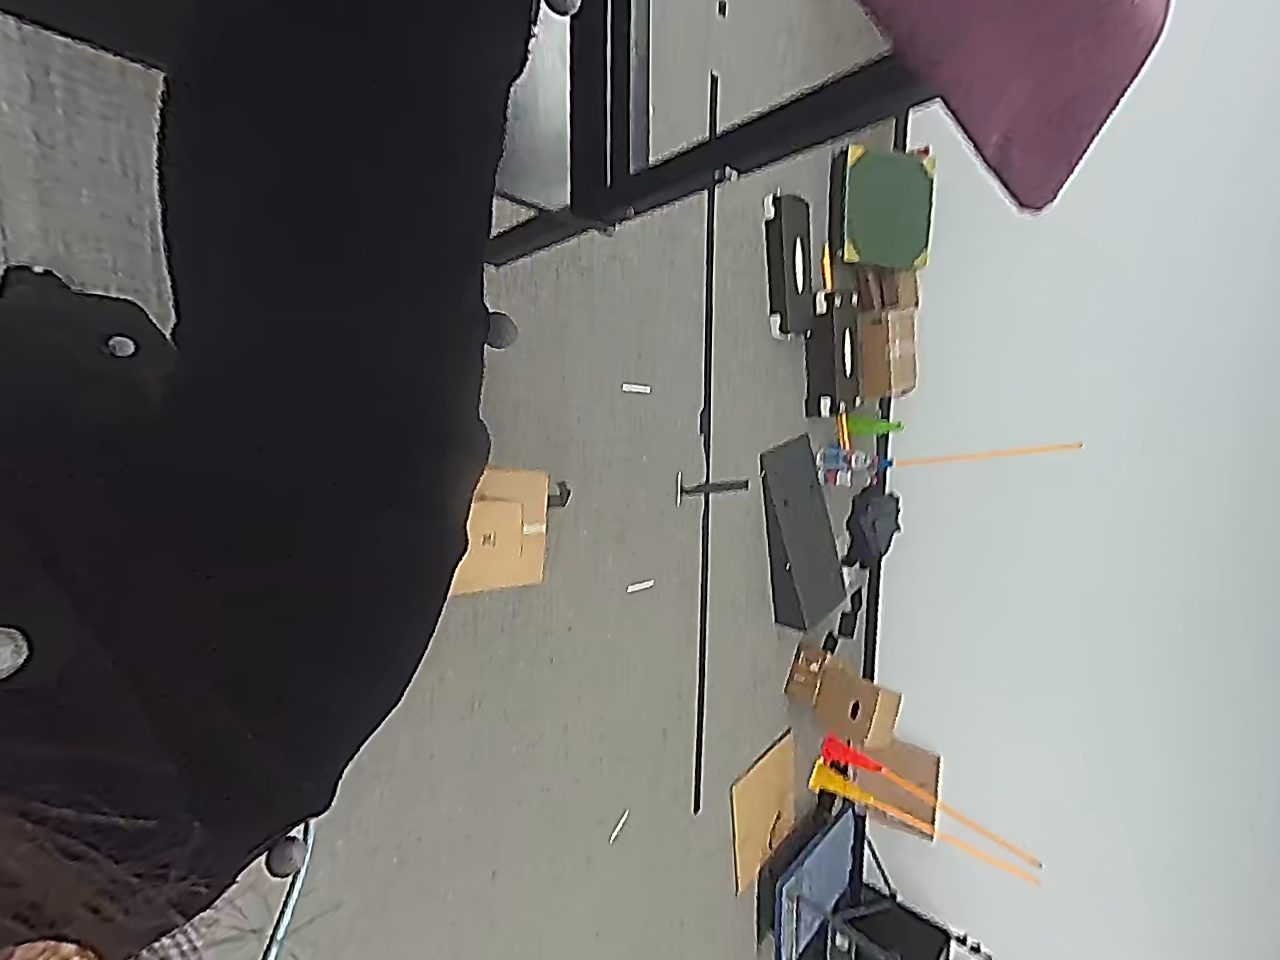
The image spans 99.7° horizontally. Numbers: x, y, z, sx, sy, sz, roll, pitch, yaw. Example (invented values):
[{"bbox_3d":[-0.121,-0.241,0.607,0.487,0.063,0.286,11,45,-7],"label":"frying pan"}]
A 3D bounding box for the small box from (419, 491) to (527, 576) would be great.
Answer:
[{"bbox_3d":[-0.379,0.114,1.227,0.179,0.176,0.168,1,93,-45],"label":"small box"}]
